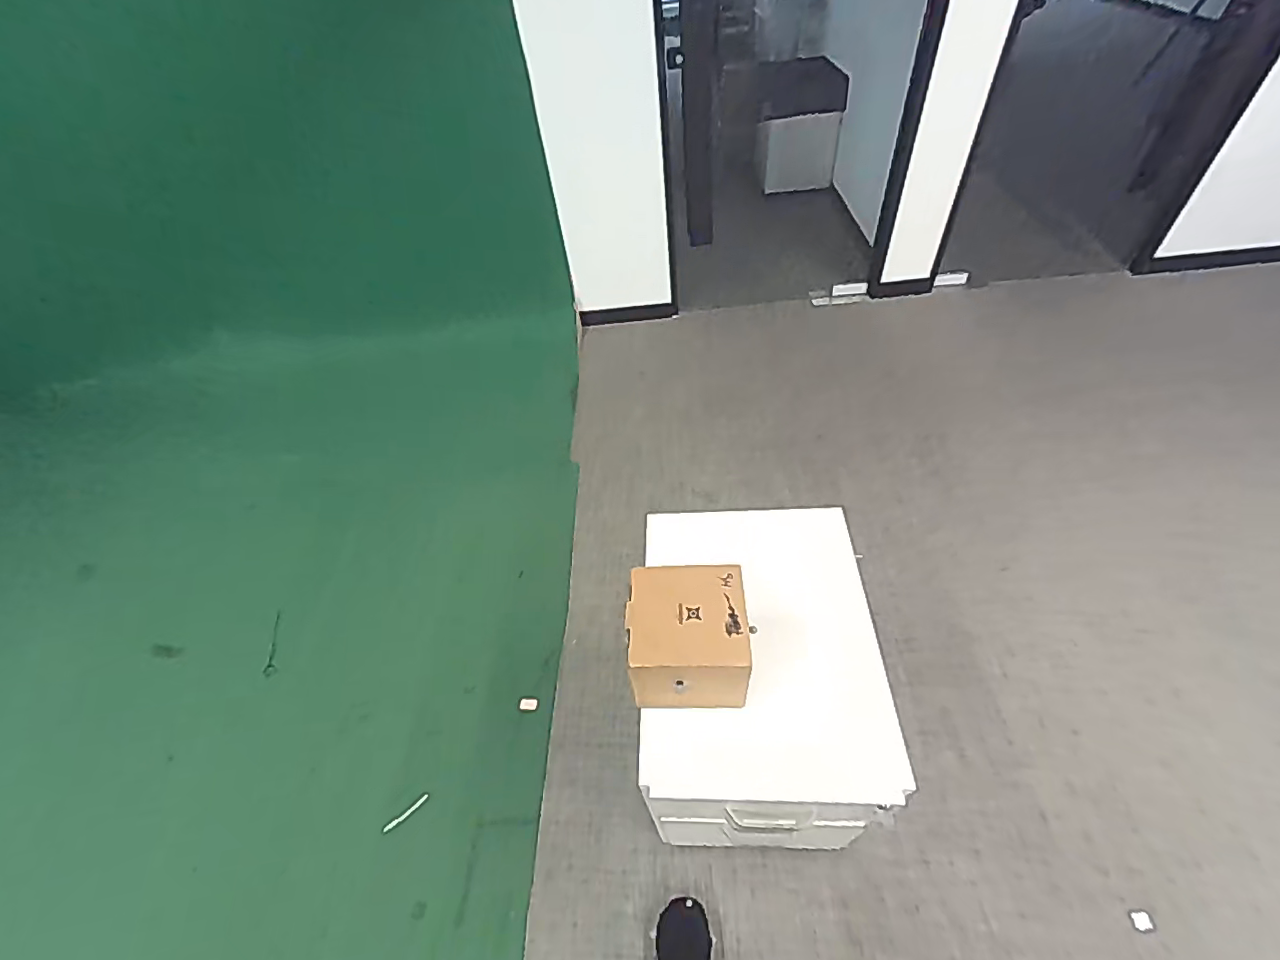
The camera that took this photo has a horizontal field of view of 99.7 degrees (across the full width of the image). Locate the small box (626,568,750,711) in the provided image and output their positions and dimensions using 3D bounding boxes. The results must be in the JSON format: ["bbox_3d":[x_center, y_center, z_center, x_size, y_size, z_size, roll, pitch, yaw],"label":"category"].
[{"bbox_3d":[0.077,0.256,0.859,0.179,0.176,0.168,-2,48,5],"label":"small box"}]
